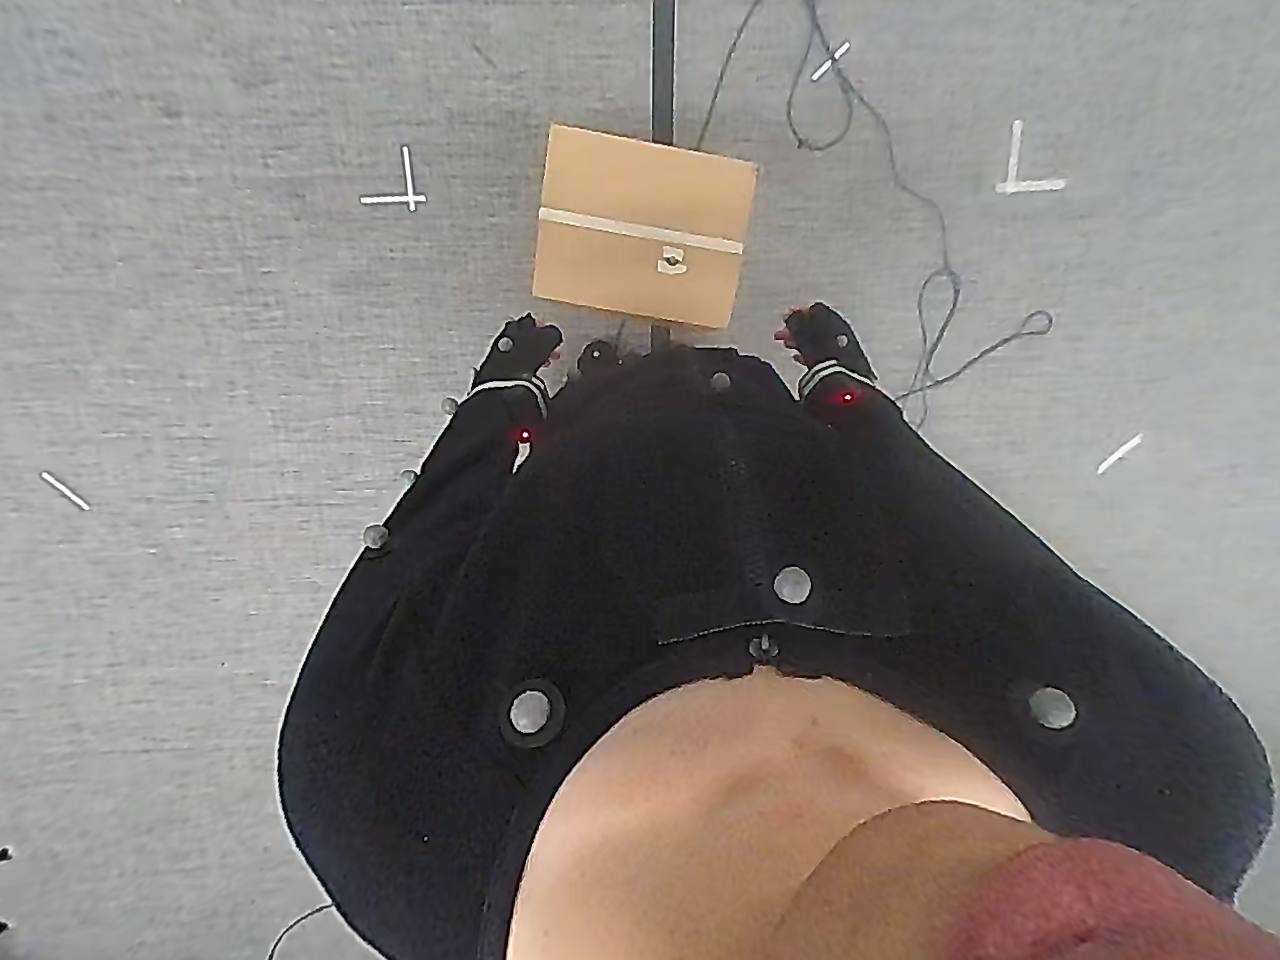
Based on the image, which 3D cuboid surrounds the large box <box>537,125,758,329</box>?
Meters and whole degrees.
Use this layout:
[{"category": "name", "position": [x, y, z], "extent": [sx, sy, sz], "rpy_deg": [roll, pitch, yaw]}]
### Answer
[{"category": "large box", "position": [0.003, -0.526, 1.198], "extent": [0.408, 0.320, 0.320], "rpy_deg": [8, 104, -4]}]
